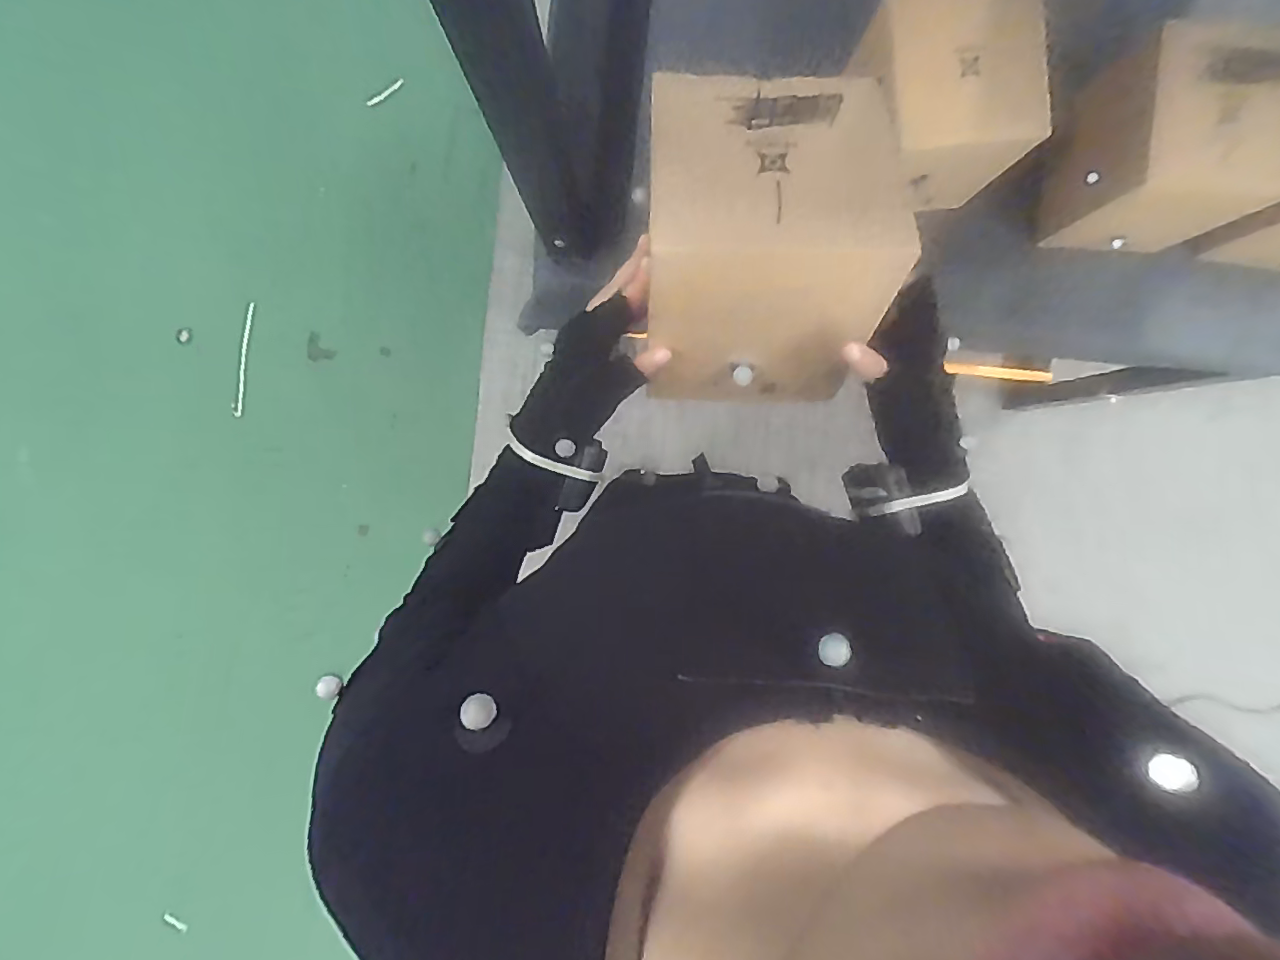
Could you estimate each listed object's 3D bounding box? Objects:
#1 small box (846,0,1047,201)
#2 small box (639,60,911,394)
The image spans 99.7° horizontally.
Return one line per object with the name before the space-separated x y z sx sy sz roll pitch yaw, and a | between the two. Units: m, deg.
small box | 0.351 -0.457 0.658 0.168 0.176 0.179 -5 92 1
small box | 0.085 -0.190 0.431 0.168 0.176 0.179 2 67 1
